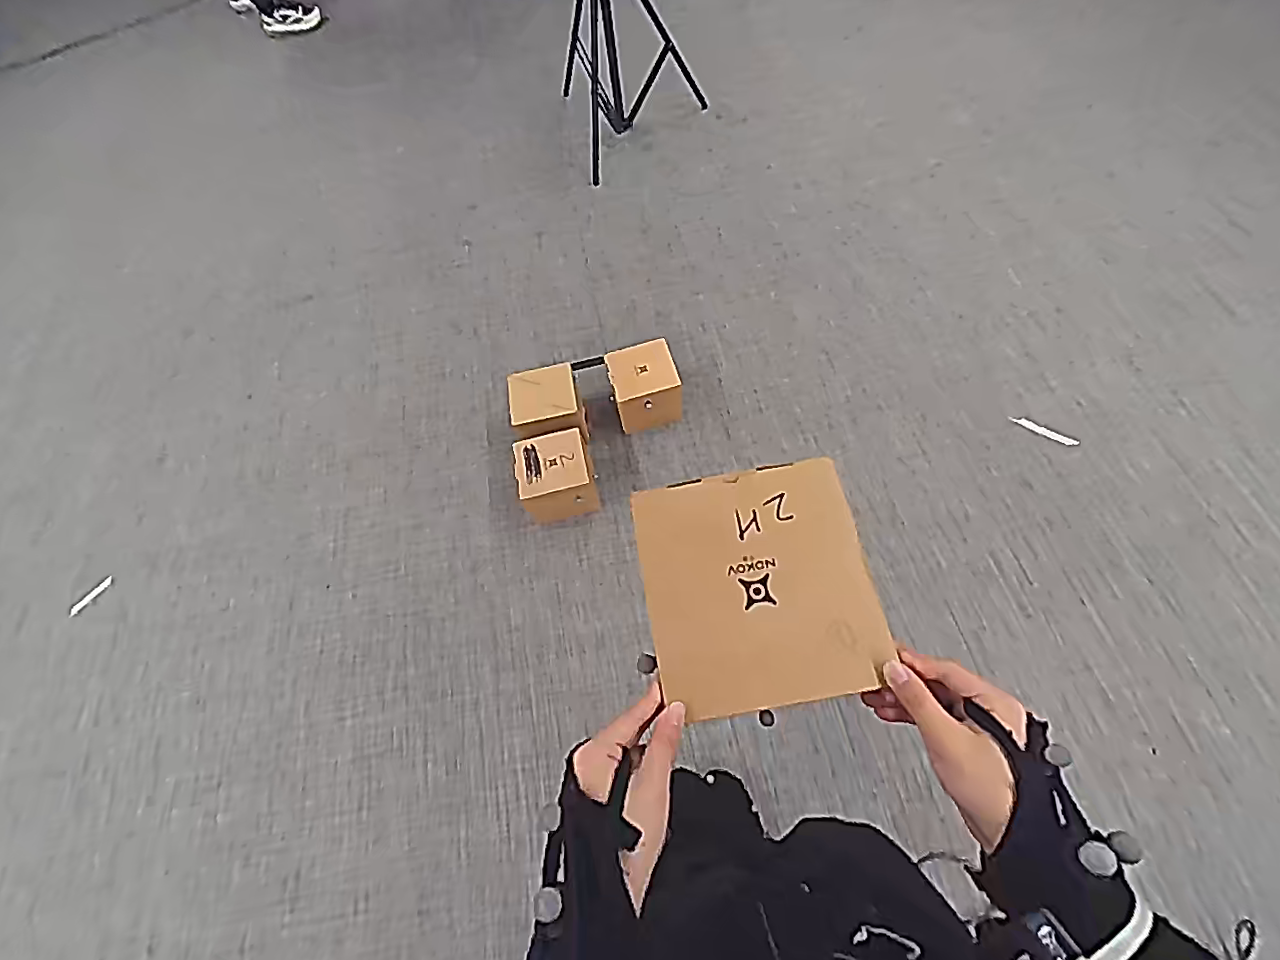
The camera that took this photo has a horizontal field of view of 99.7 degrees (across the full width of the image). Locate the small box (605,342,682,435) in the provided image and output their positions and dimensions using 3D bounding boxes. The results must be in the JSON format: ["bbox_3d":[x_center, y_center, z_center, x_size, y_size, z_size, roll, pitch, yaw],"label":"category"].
[{"bbox_3d":[0.014,-0.251,1.509,0.179,0.176,0.168,-16,64,-1],"label":"small box"}]

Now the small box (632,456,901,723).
[{"bbox_3d":[0.094,0.103,0.473,0.168,0.176,0.179,-11,67,1],"label":"small box"}]

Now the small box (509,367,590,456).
[{"bbox_3d":[-0.250,-0.192,1.503,0.179,0.176,0.168,-12,63,0],"label":"small box"}]
